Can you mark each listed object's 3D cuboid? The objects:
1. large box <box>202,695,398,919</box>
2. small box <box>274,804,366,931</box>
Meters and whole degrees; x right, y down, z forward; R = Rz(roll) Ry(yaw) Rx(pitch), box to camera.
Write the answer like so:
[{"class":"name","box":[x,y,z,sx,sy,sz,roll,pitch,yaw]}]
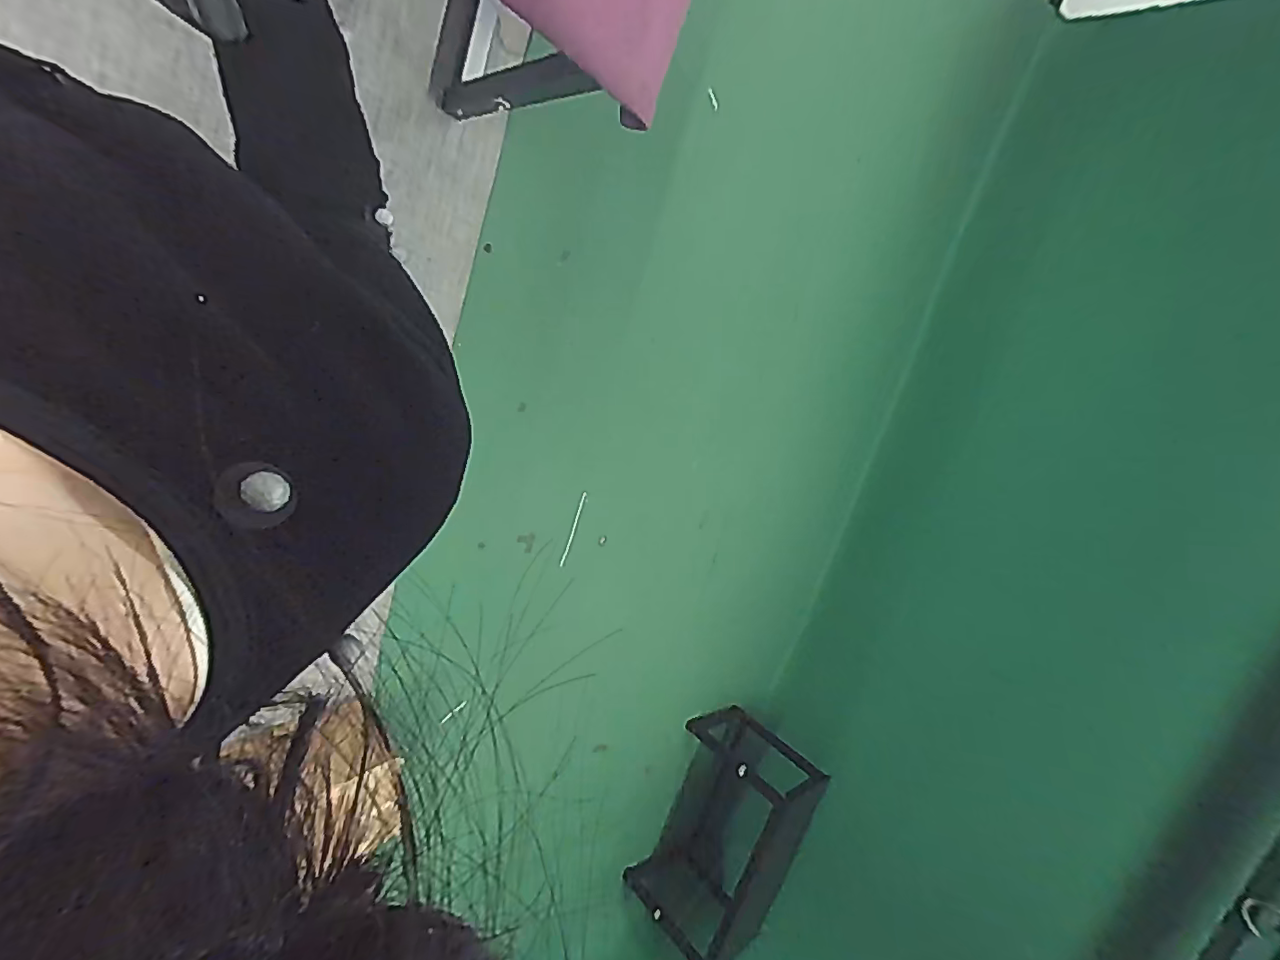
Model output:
[{"class":"large box","box":[-0.969,0.908,1.563,0.408,0.320,0.320,-13,120,-43]},{"class":"small box","box":[-0.816,0.966,1.374,0.168,0.176,0.179,-4,112,-44]}]
